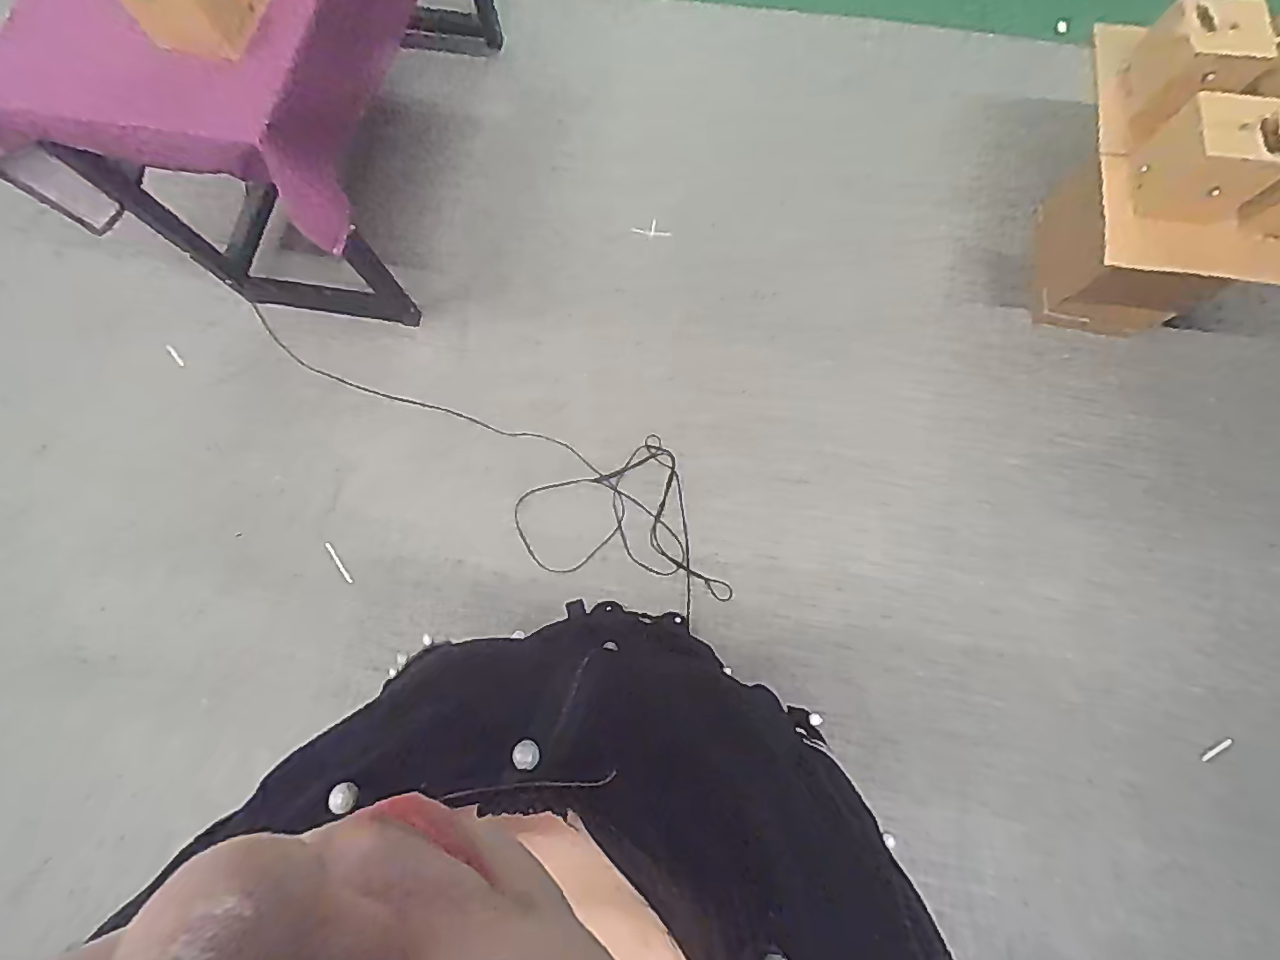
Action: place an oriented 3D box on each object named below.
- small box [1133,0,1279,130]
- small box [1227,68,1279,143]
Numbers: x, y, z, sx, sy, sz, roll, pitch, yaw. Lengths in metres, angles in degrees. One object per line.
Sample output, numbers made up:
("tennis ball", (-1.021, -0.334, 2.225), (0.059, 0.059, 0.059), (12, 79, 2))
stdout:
("small box", (1.252, -0.917, 1.204), (0.179, 0.176, 0.168), (5, 76, 2))
("small box", (1.462, -0.875, 1.187), (0.179, 0.176, 0.168), (8, 75, 2))
